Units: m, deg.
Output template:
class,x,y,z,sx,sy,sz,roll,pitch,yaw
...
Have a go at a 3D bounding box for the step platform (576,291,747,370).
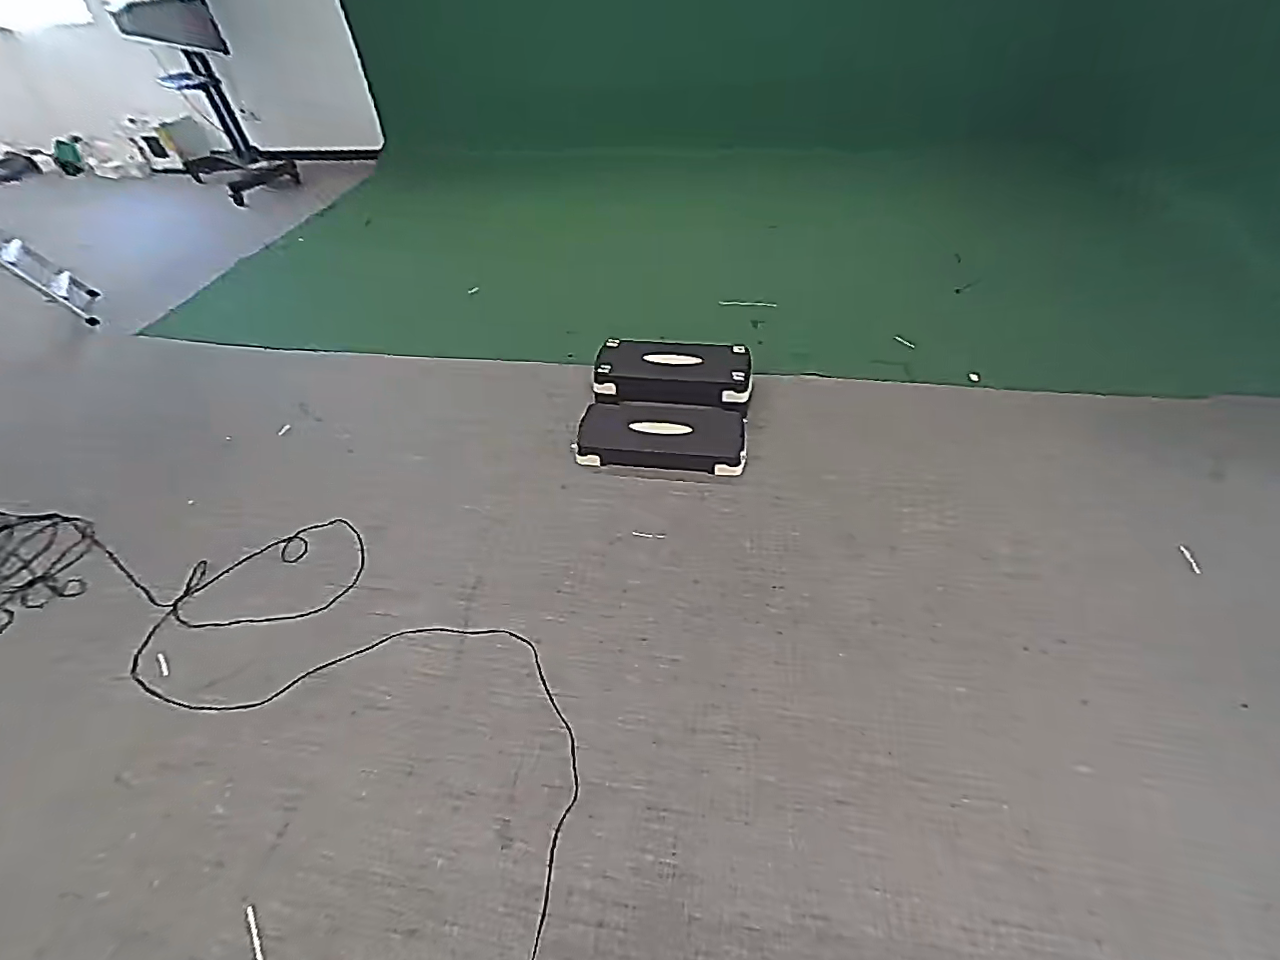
class,x,y,z,sx,sy,sz,roll,pitch,yaw
step platform,0.088,-0.622,2.245,0.684,0.204,0.286,4,47,8
